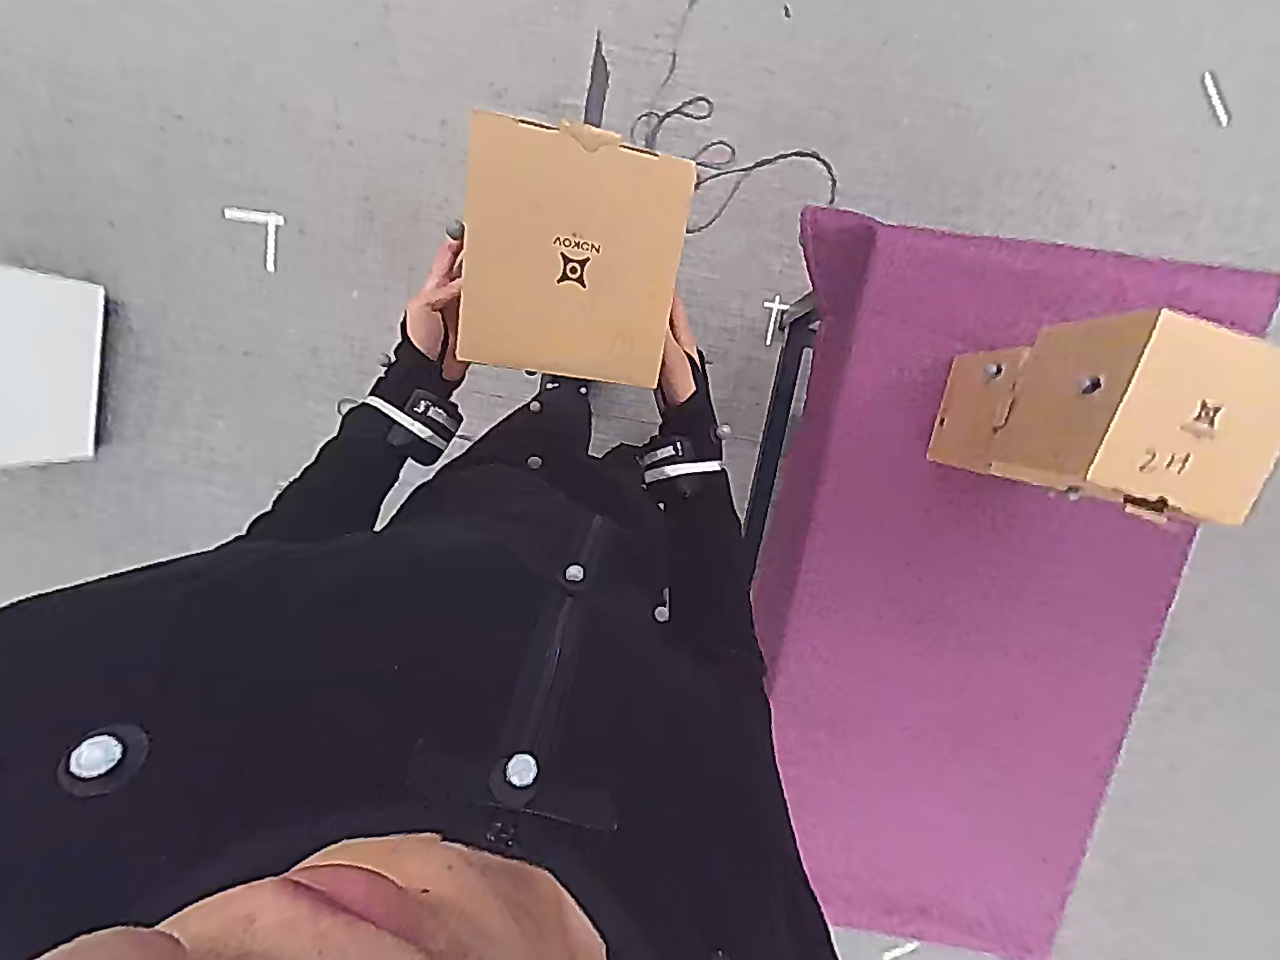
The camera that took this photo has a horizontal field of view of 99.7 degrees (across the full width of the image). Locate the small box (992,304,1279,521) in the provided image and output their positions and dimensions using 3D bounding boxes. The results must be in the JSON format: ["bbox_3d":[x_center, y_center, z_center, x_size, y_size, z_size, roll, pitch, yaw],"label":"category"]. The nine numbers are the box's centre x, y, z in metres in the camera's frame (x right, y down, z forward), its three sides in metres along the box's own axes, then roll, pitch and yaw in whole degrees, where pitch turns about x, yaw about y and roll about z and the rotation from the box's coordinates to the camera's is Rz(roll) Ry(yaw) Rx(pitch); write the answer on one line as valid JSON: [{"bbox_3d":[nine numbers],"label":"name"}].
[{"bbox_3d":[0.546,-0.076,0.610,0.168,0.176,0.179,18,99,-1],"label":"small box"}]

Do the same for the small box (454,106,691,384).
[{"bbox_3d":[-0.068,-0.198,0.492,0.168,0.176,0.179,5,108,-13],"label":"small box"}]
